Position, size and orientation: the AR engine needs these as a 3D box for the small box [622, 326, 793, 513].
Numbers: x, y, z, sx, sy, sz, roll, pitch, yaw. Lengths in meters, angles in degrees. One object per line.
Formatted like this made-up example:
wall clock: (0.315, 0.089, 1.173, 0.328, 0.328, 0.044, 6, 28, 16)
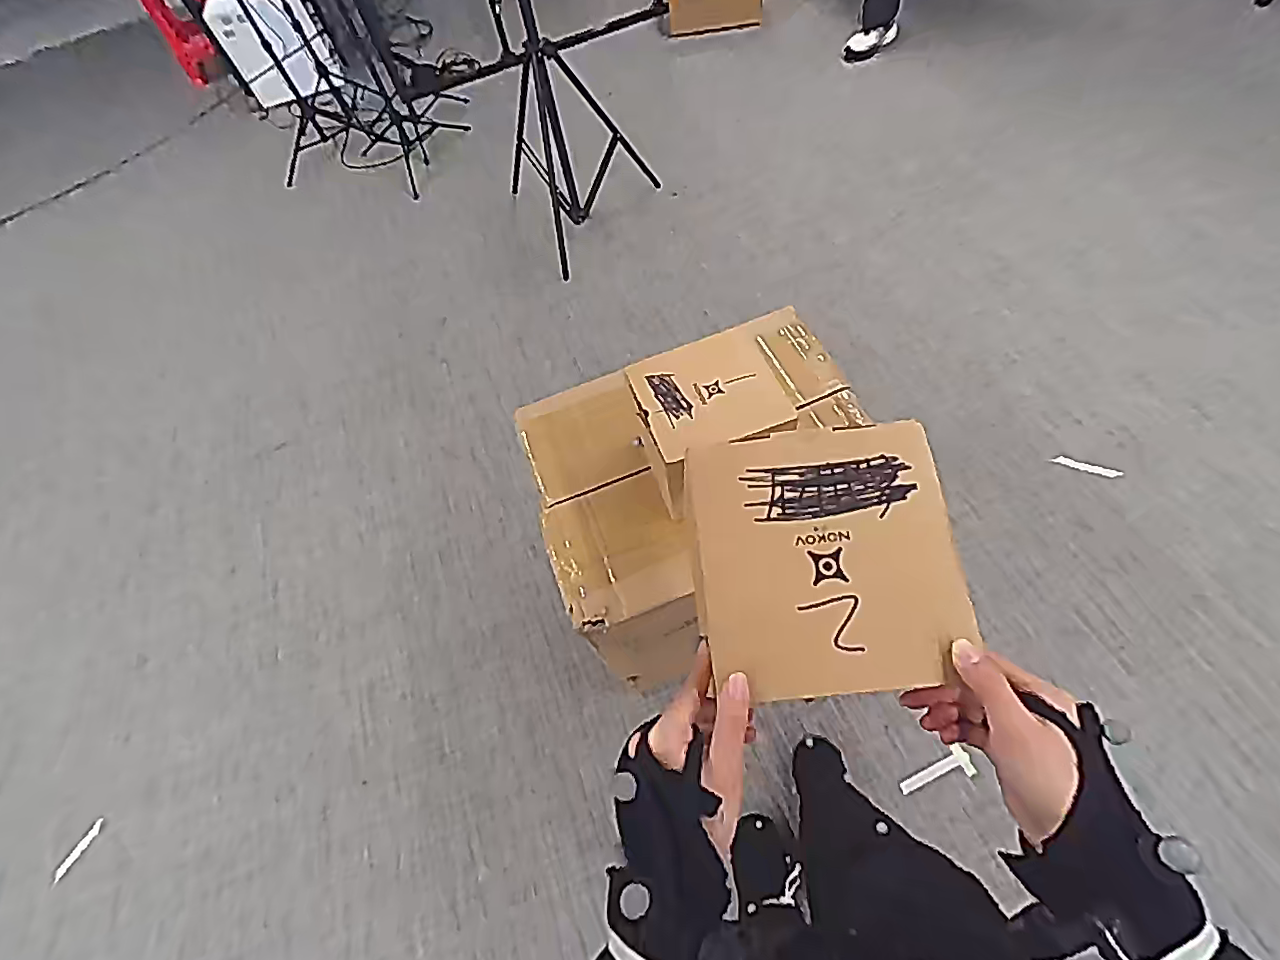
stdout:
small box: (0.092, -0.076, 0.755, 0.179, 0.176, 0.168, -20, 61, -4)
